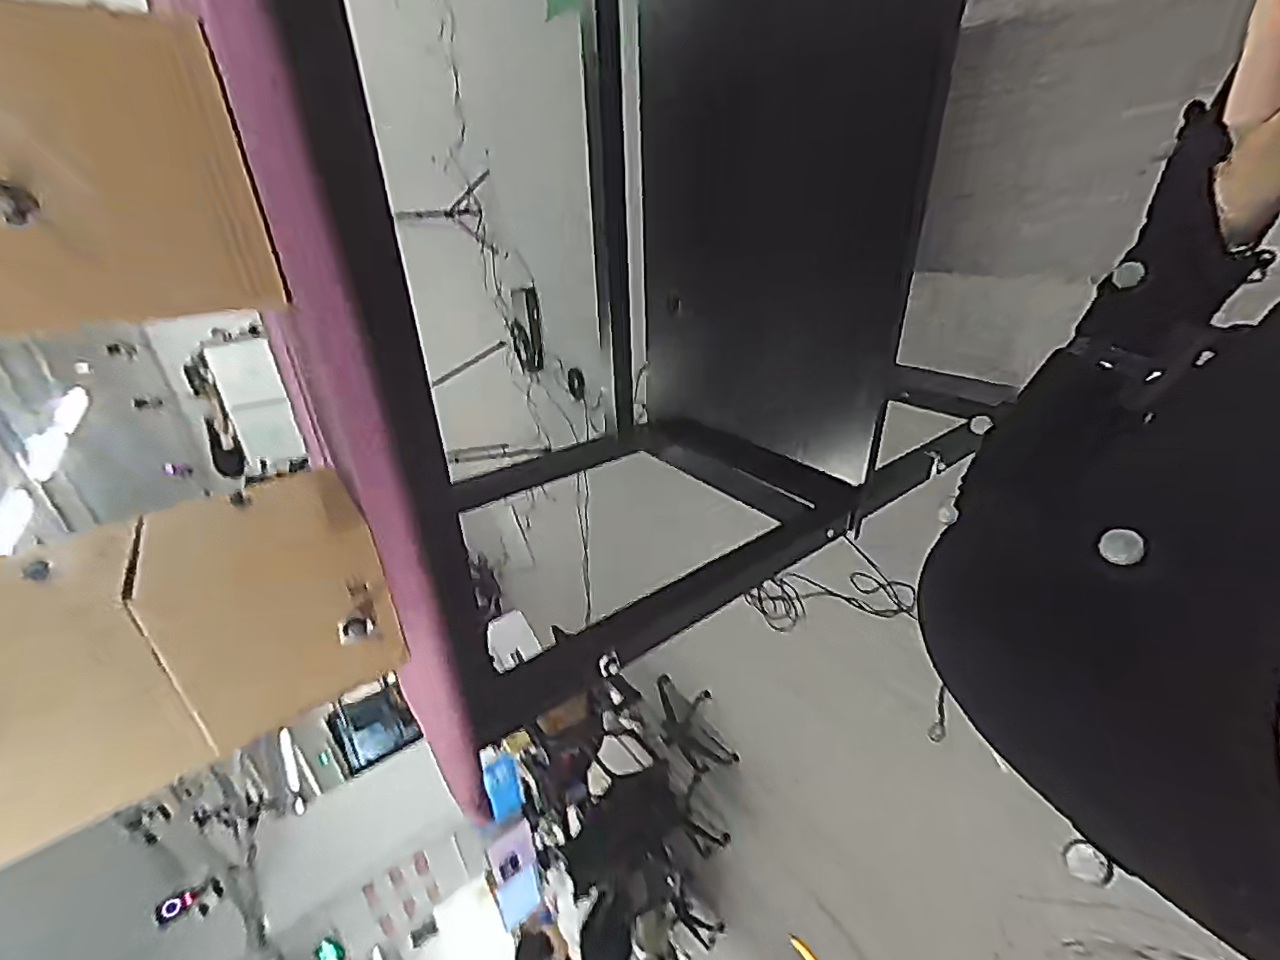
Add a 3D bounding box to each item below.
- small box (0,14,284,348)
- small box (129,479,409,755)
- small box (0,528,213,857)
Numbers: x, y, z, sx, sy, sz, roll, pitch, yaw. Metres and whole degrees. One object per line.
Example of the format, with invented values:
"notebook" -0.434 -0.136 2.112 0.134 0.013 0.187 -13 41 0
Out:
"small box" -0.382 -0.210 0.391 0.168 0.176 0.179 32 132 46
"small box" -0.346 0.112 0.526 0.179 0.176 0.168 25 129 47
"small box" -0.478 0.167 0.444 0.168 0.176 0.179 25 128 48
